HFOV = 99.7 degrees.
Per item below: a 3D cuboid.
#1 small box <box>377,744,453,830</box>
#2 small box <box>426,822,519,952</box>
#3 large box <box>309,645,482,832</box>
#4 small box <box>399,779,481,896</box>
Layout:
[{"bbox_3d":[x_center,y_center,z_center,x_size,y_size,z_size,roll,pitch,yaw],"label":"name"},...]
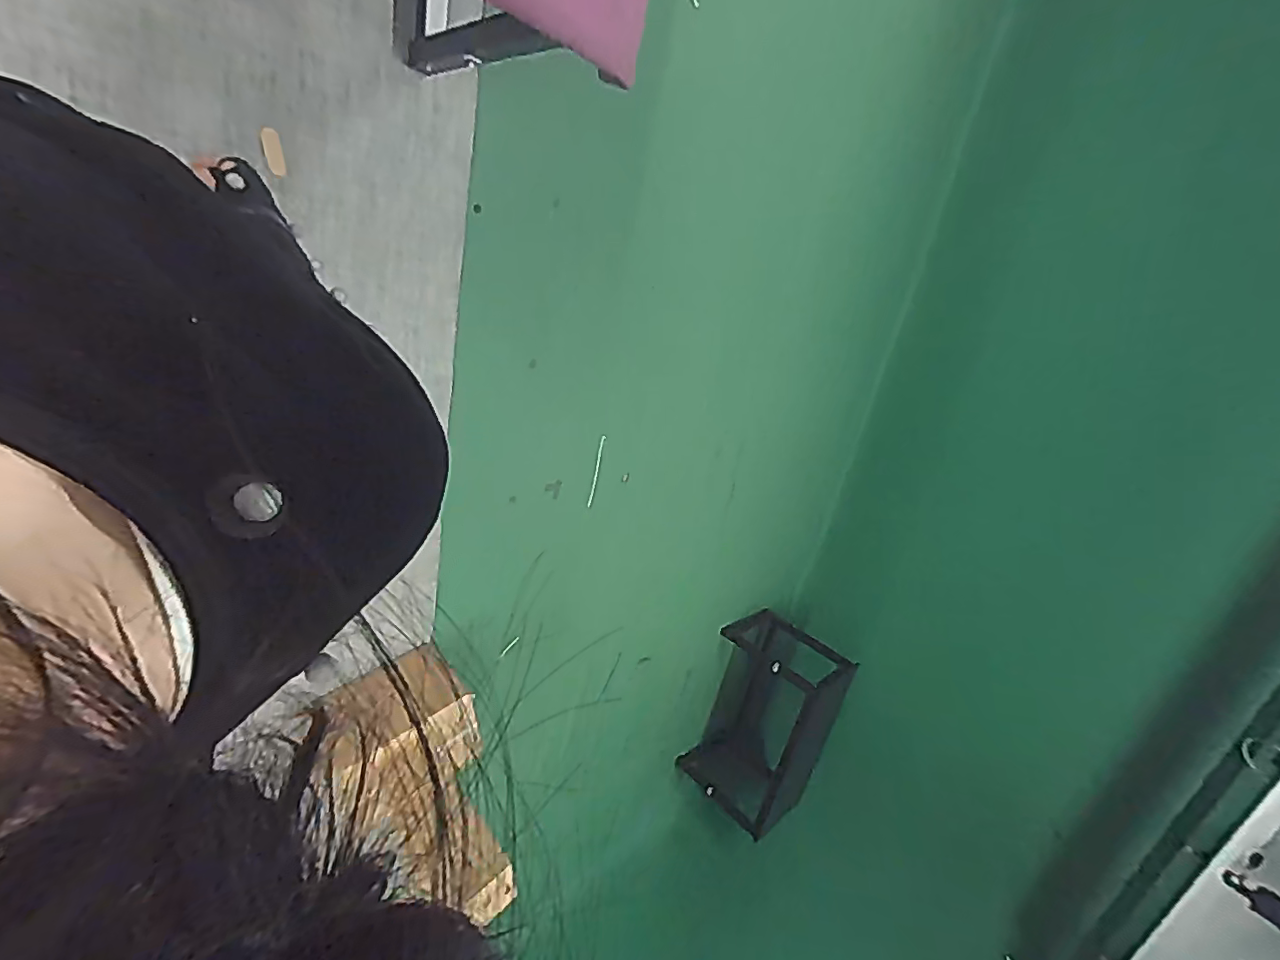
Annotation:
[{"bbox_3d":[-0.664,0.928,1.615,0.168,0.176,0.179,-23,128,-37],"label":"small box"},{"bbox_3d":[-0.440,1.053,1.411,0.179,0.176,0.168,-23,127,-36],"label":"small box"},{"bbox_3d":[-0.801,0.835,1.800,0.408,0.320,0.320,-25,130,-38],"label":"large box"},{"bbox_3d":[-0.554,0.991,1.512,0.179,0.176,0.168,-25,128,-37],"label":"small box"}]
